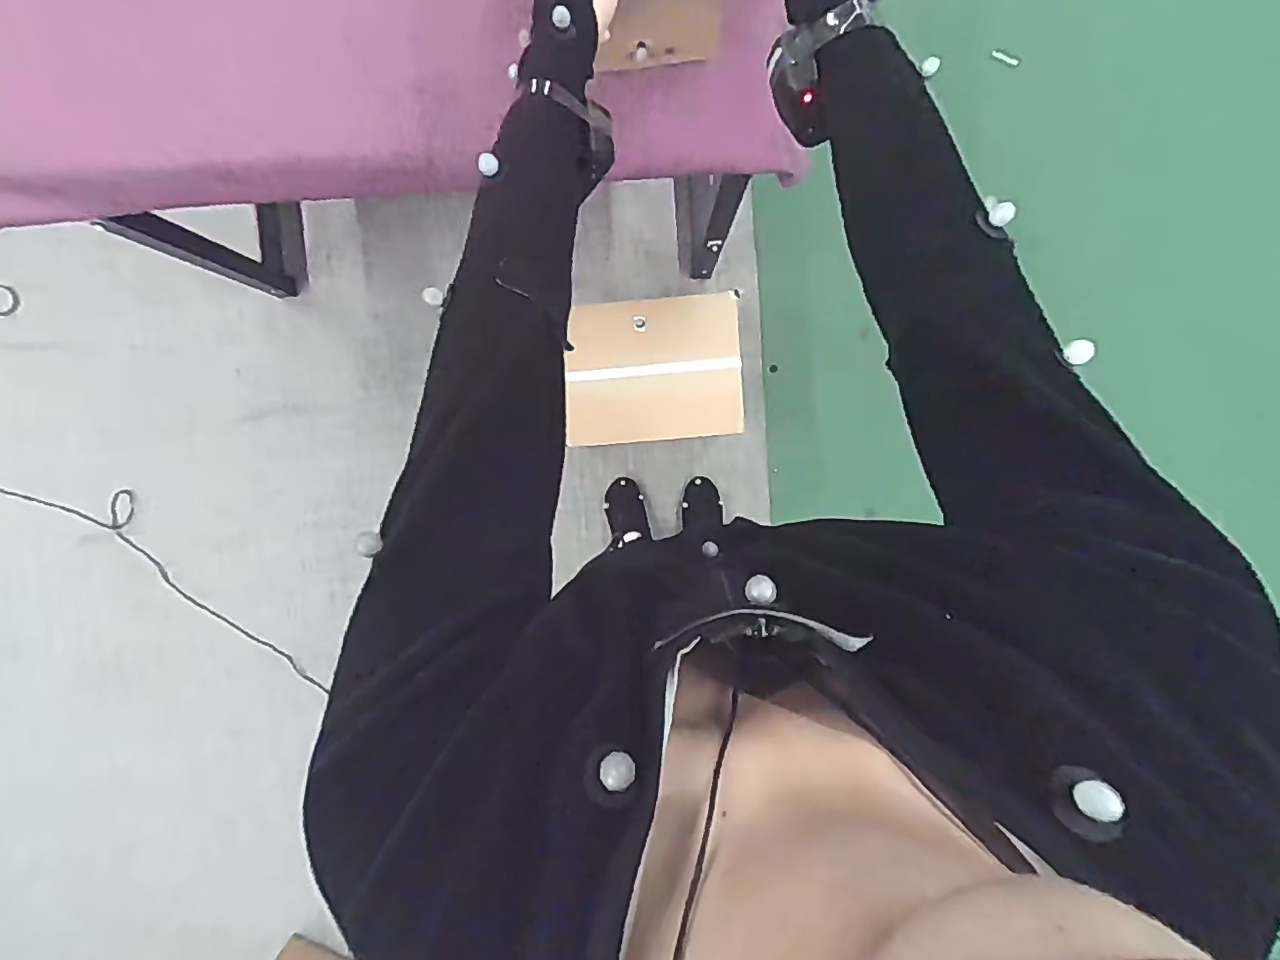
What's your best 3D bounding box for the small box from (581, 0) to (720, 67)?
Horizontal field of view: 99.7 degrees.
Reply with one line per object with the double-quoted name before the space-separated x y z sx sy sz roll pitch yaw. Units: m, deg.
"small box" 0.005 -0.643 0.640 0.168 0.176 0.179 -6 93 2
